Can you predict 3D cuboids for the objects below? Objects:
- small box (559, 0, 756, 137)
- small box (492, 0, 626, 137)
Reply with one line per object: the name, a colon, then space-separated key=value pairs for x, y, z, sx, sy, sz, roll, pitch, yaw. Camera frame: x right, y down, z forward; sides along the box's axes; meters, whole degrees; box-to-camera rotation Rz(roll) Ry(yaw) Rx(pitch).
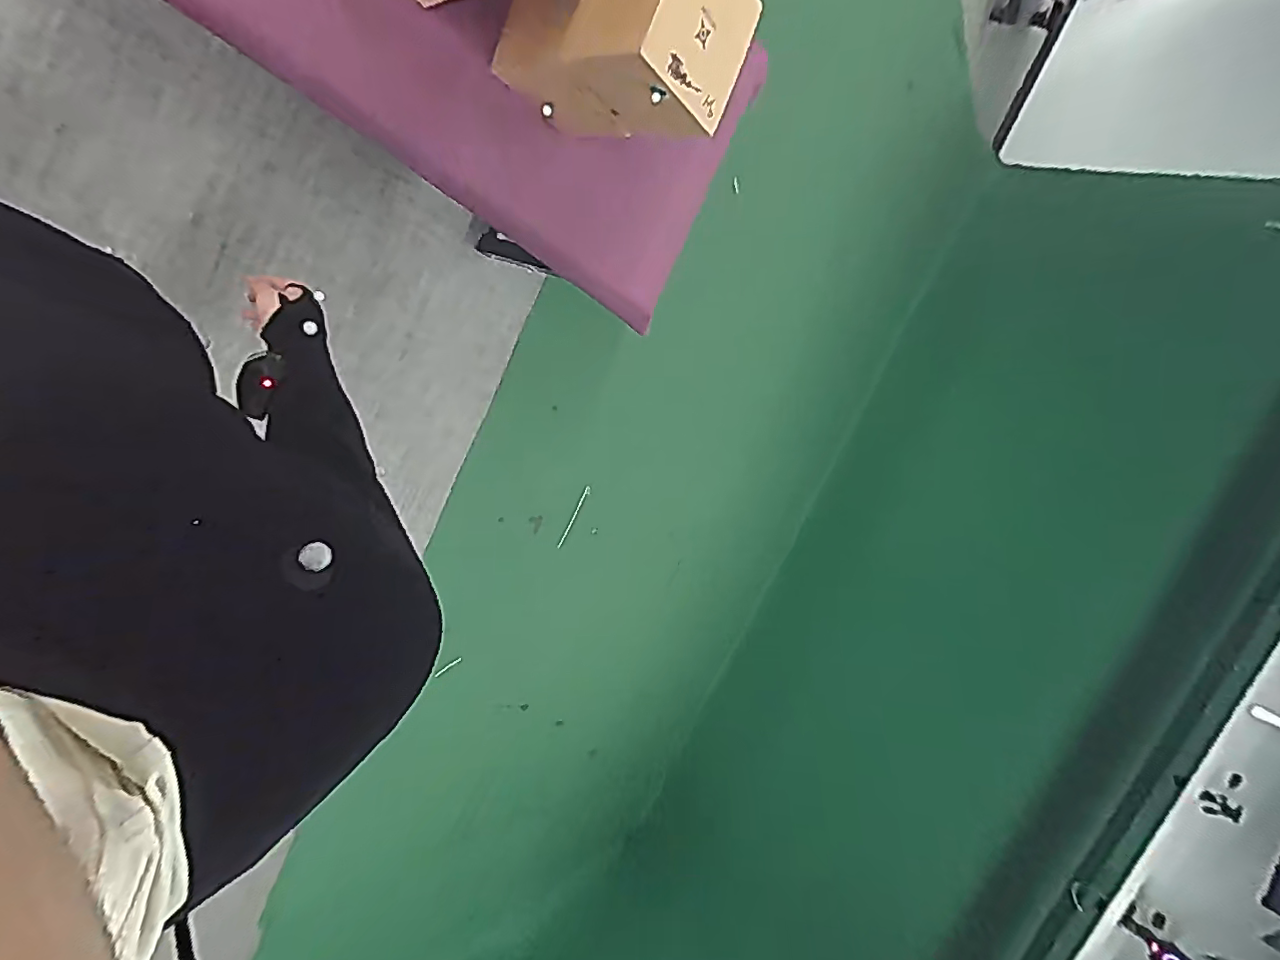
small box: x=0.020 y=-0.591 z=0.717 sx=0.168 sy=0.176 sz=0.179 roll=10 pitch=104 yaw=-51
small box: x=-0.096 y=-0.655 z=0.815 sx=0.168 sy=0.176 sz=0.179 roll=12 pitch=104 yaw=-51
